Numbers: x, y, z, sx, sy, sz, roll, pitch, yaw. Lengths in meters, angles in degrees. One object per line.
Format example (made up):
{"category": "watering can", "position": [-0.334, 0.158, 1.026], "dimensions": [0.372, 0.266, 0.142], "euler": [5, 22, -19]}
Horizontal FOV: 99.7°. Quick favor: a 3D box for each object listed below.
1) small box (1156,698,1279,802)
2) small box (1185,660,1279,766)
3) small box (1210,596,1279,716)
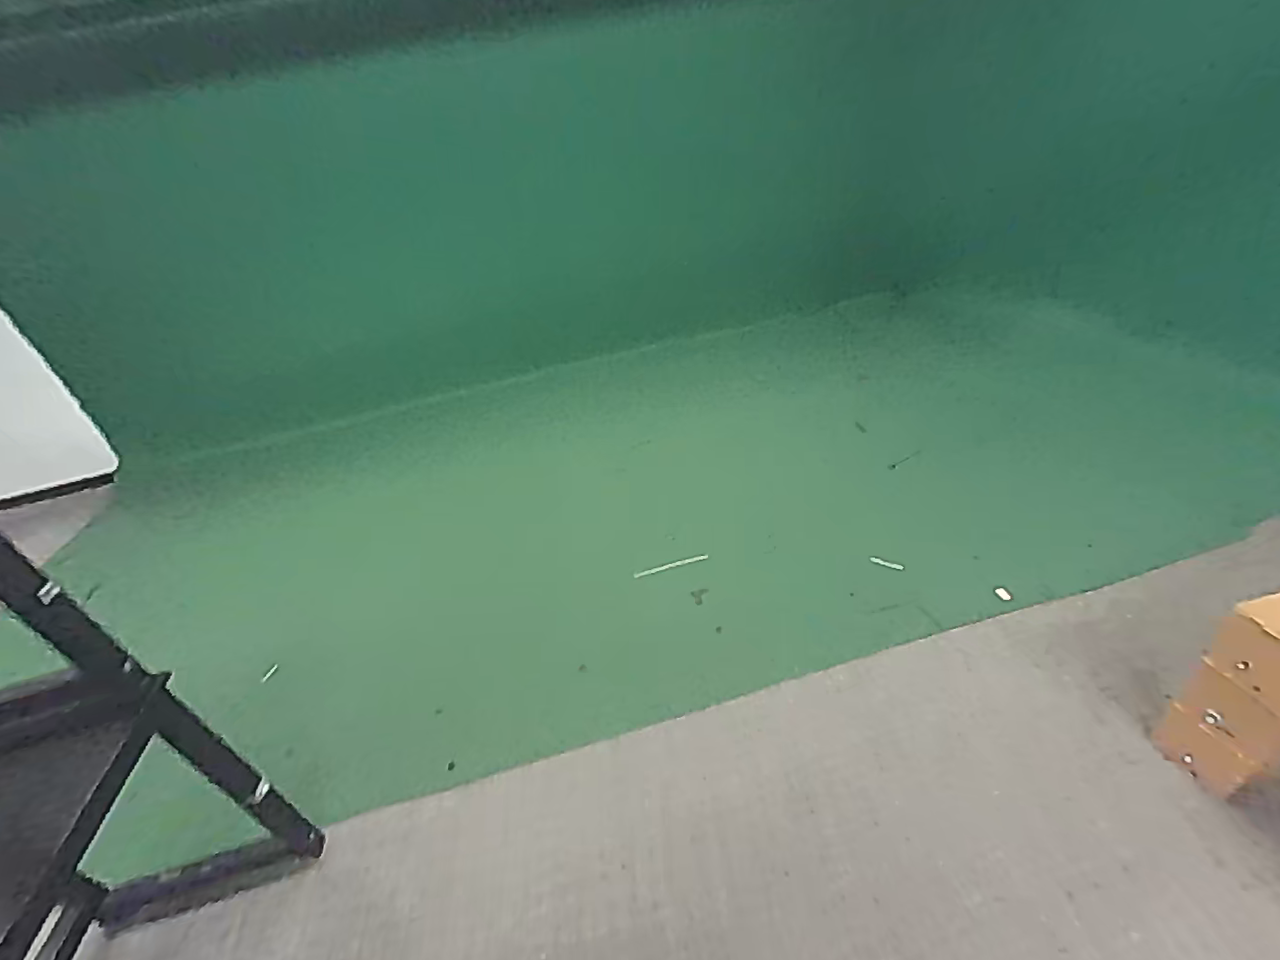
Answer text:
{"category": "small box", "position": [1.396, 0.621, 1.285], "dimensions": [0.179, 0.176, 0.168], "euler": [-17, 33, -9]}
{"category": "small box", "position": [1.377, 0.489, 1.193], "dimensions": [0.179, 0.176, 0.168], "euler": [-17, 33, -9]}
{"category": "small box", "position": [1.347, 0.355, 1.105], "dimensions": [0.179, 0.176, 0.168], "euler": [-13, 33, -4]}
